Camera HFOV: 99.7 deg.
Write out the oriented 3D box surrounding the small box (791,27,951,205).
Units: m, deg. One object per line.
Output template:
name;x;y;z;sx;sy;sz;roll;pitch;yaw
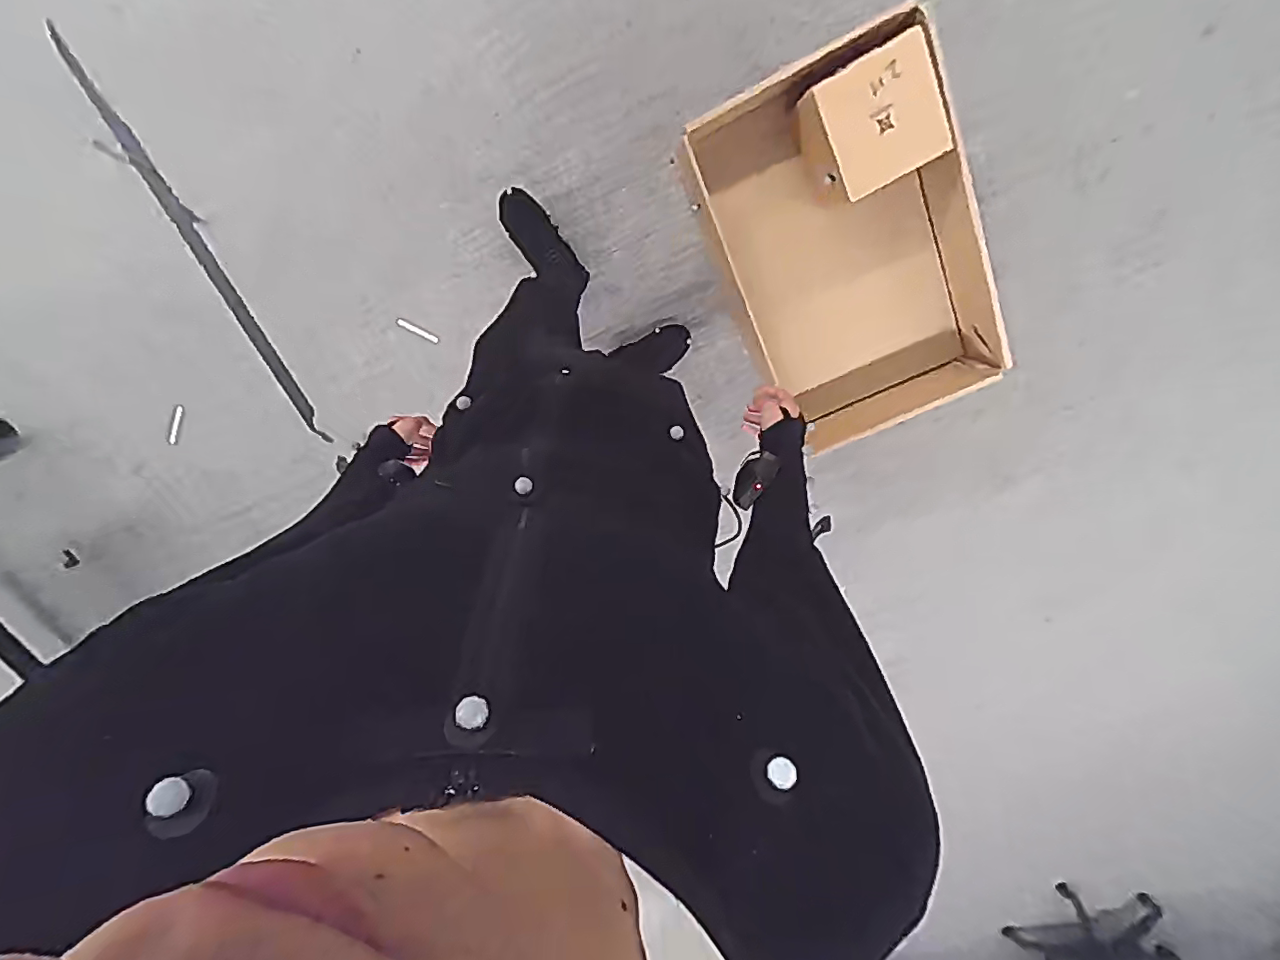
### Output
small box;0.367;-0.572;0.882;0.168;0.176;0.179;-25;110;12
